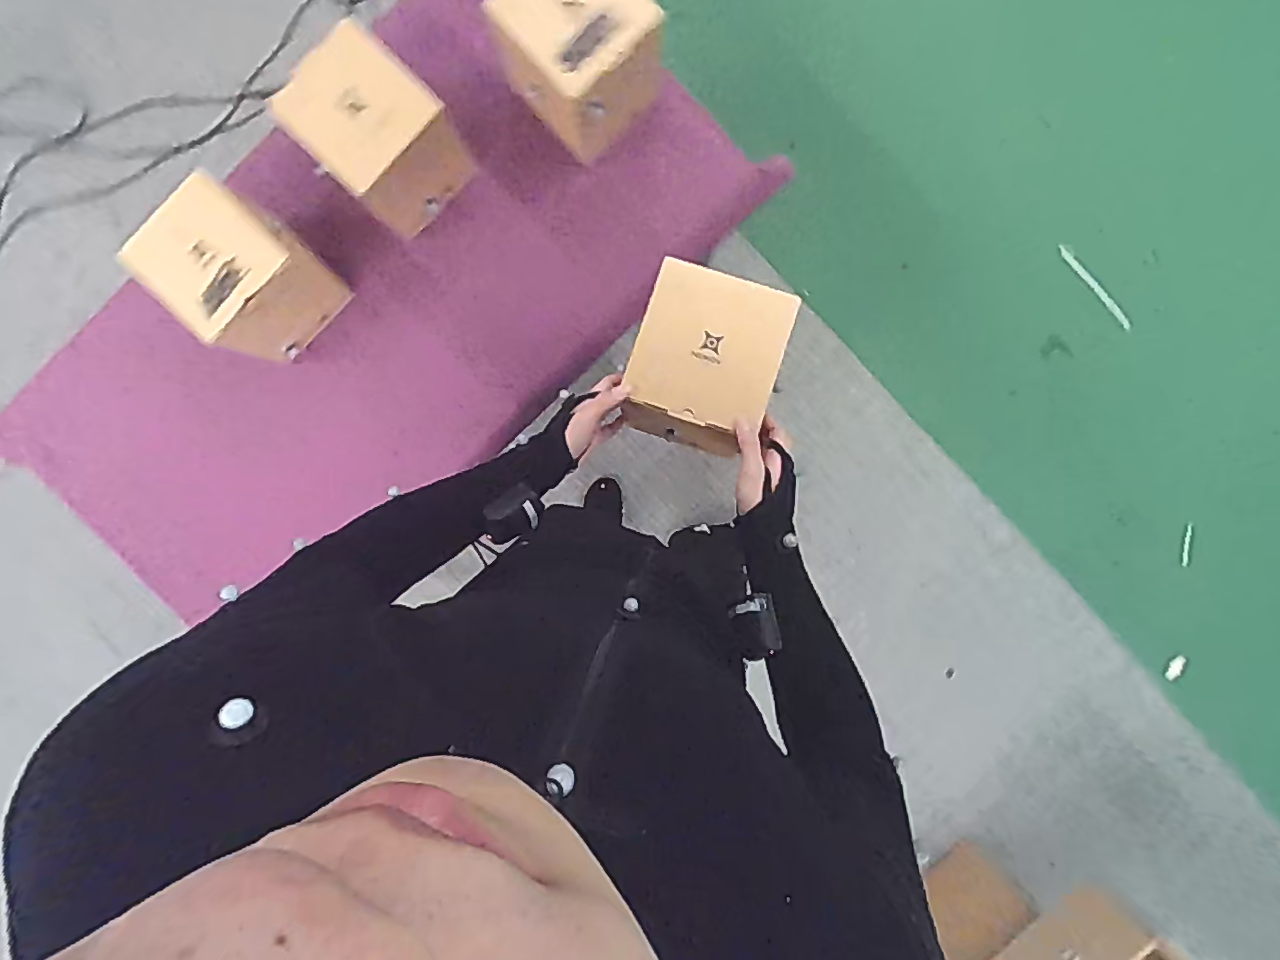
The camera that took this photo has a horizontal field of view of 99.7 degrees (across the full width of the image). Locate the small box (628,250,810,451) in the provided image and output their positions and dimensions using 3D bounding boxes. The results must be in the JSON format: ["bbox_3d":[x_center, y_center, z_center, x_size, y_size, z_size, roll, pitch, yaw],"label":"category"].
[{"bbox_3d":[0.089,-0.150,0.688,0.168,0.176,0.179,19,87,1],"label":"small box"}]

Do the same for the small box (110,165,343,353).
[{"bbox_3d":[-0.591,-0.308,0.802,0.179,0.176,0.168,44,92,-1],"label":"small box"}]

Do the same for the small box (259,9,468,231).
[{"bbox_3d":[-0.389,-0.508,0.795,0.179,0.176,0.168,44,93,-3],"label":"small box"}]
